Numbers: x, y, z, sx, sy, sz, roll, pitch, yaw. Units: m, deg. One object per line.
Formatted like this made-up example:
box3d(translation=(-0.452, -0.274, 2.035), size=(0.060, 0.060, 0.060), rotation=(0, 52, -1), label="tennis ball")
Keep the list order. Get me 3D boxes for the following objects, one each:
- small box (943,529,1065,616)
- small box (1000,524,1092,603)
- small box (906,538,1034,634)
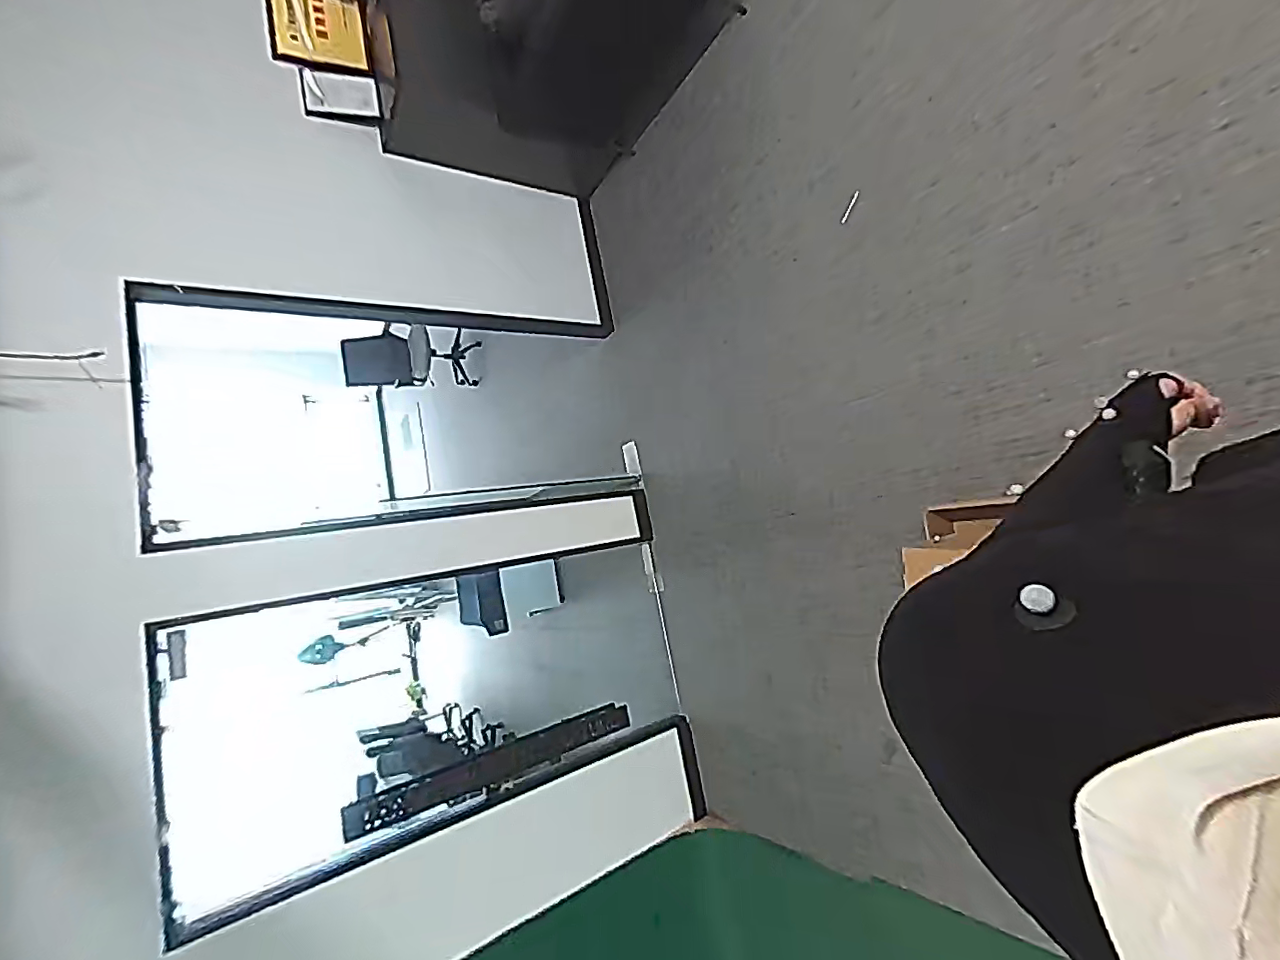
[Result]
box3d(translation=(0.841, 0.206, 1.252), size=(0.179, 0.176, 0.168), rotation=(-10, 87, 57), label="small box")
box3d(translation=(0.977, 0.202, 1.344), size=(0.179, 0.176, 0.168), rotation=(-12, 84, 56), label="small box")
box3d(translation=(0.706, 0.219, 1.161), size=(0.179, 0.176, 0.168), rotation=(-8, 88, 56), label="small box")
